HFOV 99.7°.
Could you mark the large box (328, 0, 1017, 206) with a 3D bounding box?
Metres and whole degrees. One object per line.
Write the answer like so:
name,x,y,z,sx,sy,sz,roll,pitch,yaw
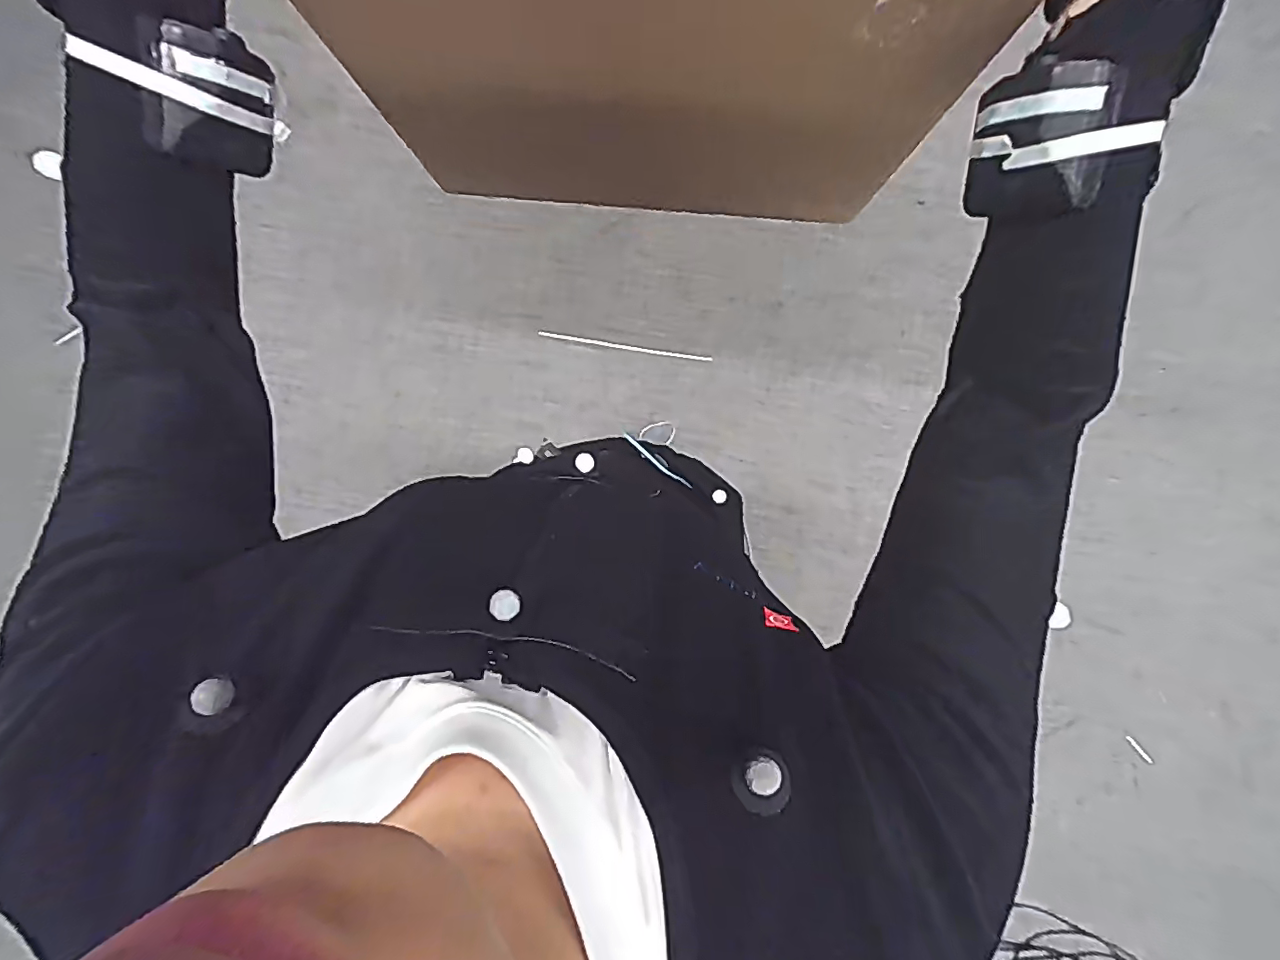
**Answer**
large box,0.018,-0.422,0.373,0.408,0.320,0.320,5,94,0
